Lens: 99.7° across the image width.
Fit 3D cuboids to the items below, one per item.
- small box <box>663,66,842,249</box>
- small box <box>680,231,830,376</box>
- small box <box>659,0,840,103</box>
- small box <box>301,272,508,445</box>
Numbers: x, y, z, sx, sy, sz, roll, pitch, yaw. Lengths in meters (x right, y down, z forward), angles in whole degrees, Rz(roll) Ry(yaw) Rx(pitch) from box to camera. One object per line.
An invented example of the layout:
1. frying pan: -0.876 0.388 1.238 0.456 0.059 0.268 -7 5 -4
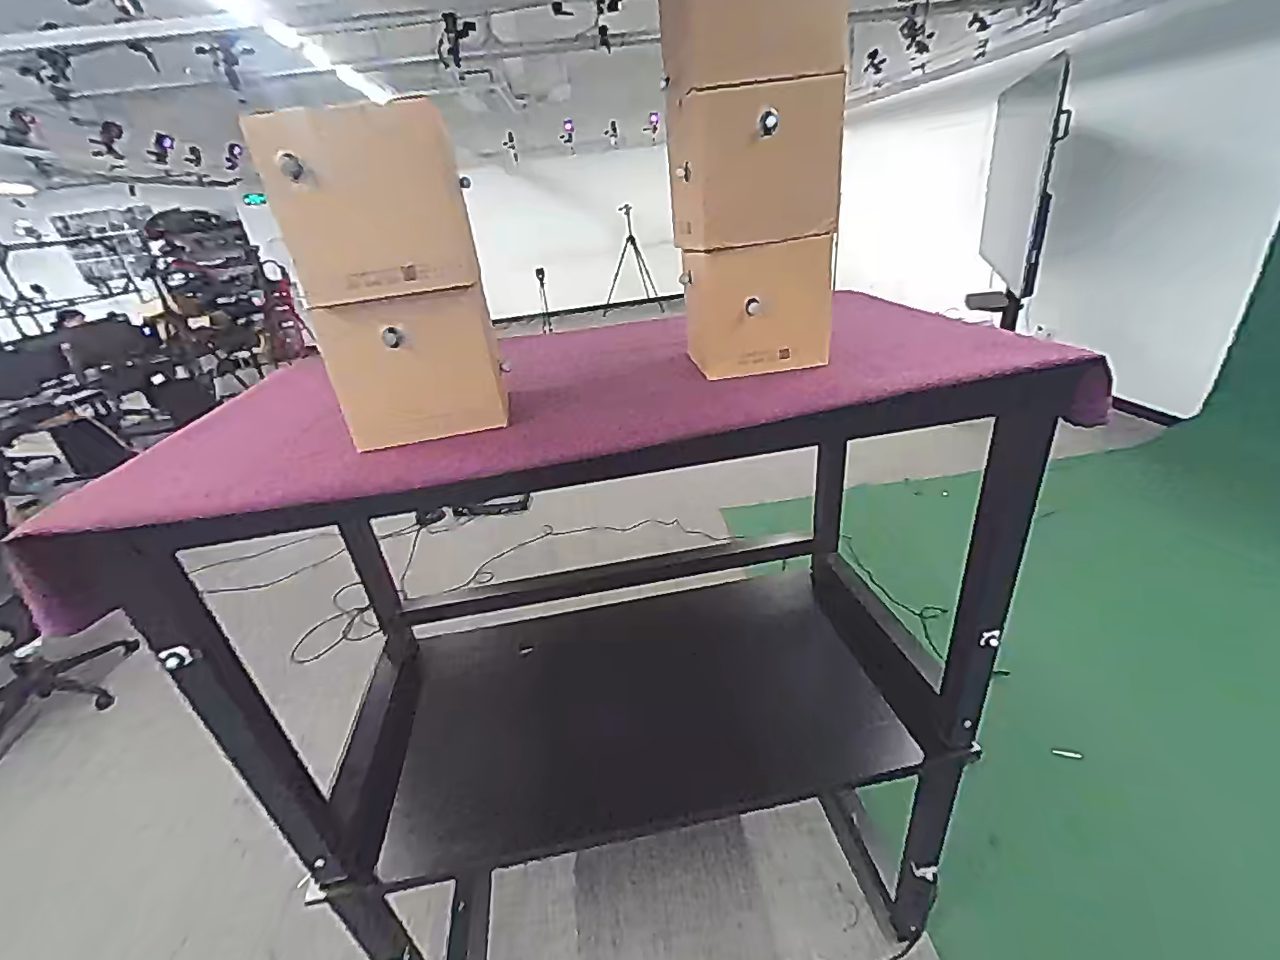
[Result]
1. small box: 0.136 -0.392 0.685 0.179 0.176 0.168 -9 27 -5
2. small box: 0.156 -0.251 0.764 0.168 0.176 0.179 -8 26 -2
3. small box: 0.119 -0.543 0.622 0.179 0.176 0.168 -8 27 -3
4. small box: -0.272 -0.154 0.672 0.179 0.176 0.168 -11 27 -8
